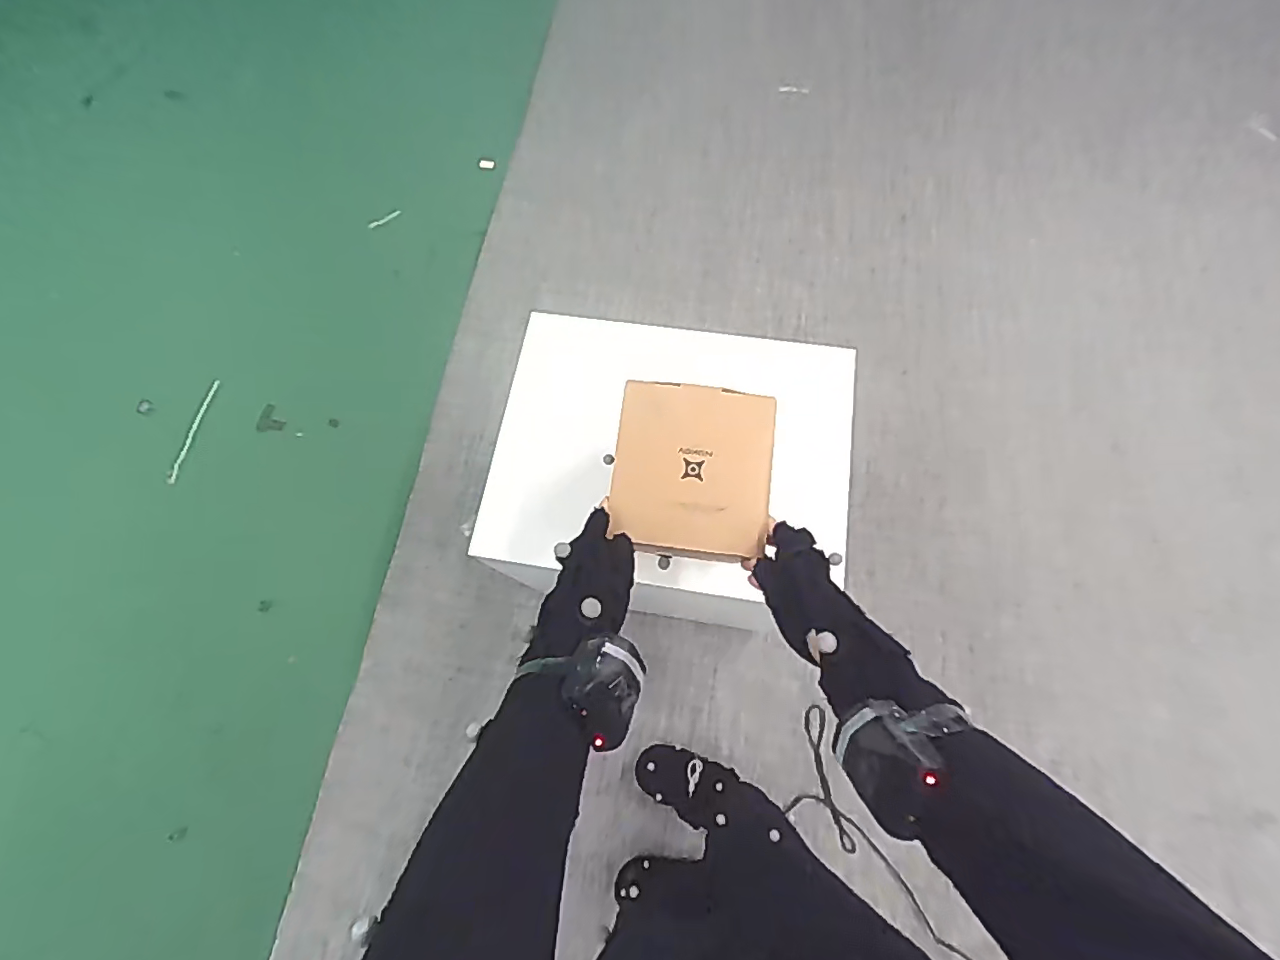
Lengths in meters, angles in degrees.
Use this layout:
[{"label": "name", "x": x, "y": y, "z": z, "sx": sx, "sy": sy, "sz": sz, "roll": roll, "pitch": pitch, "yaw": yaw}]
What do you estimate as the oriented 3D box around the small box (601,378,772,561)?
[{"label": "small box", "x": 0.050, "y": -0.002, "z": 0.636, "sx": 0.168, "sy": 0.176, "sz": 0.179, "roll": 6, "pitch": 81, "yaw": 2}]
